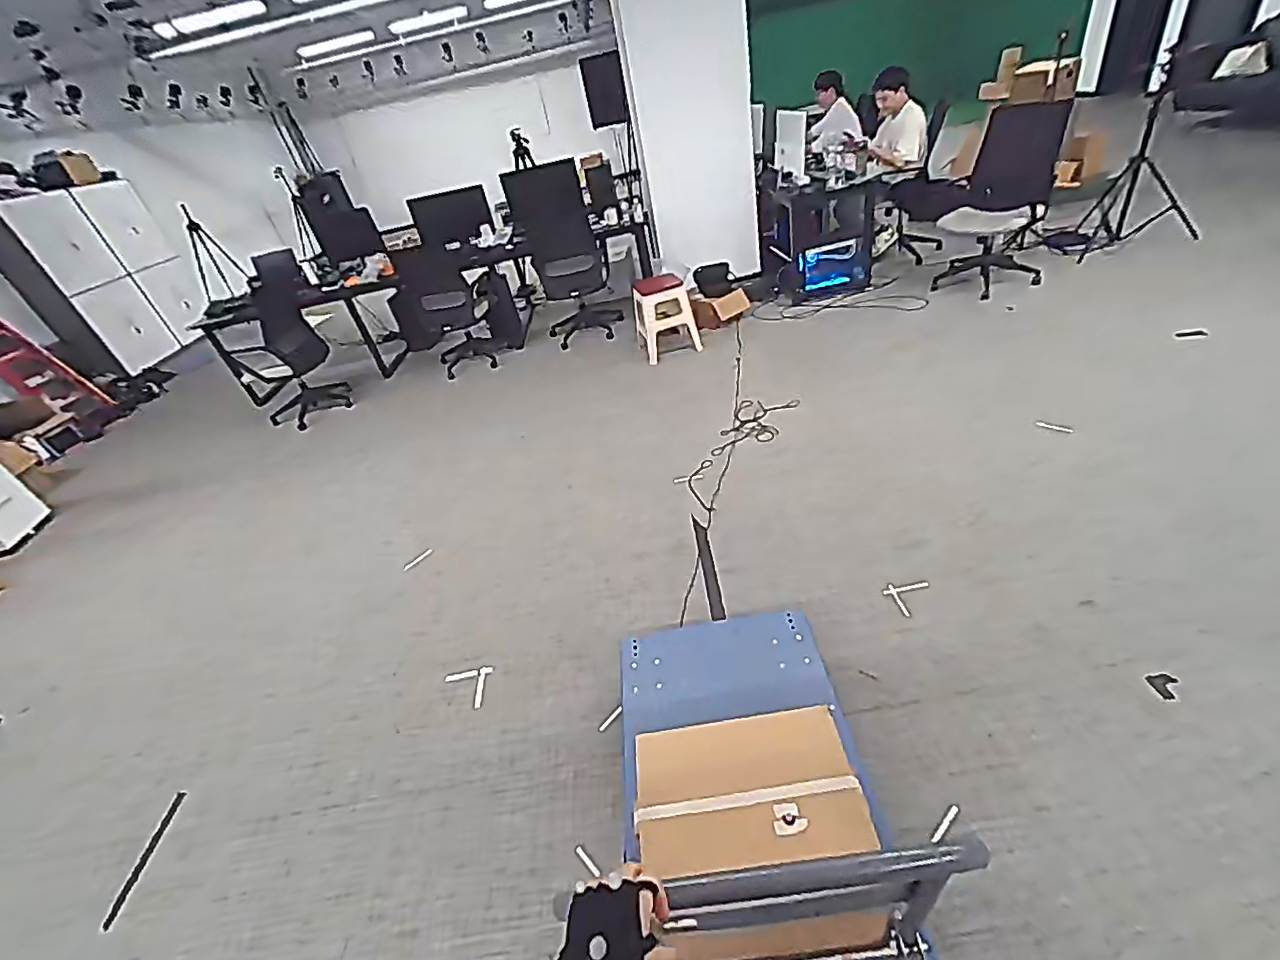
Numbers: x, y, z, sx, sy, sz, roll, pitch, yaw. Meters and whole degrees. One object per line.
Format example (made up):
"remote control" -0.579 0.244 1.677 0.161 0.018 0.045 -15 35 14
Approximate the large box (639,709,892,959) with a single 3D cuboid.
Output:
"large box" 0.229 0.716 1.082 0.408 0.320 0.320 -11 36 3
